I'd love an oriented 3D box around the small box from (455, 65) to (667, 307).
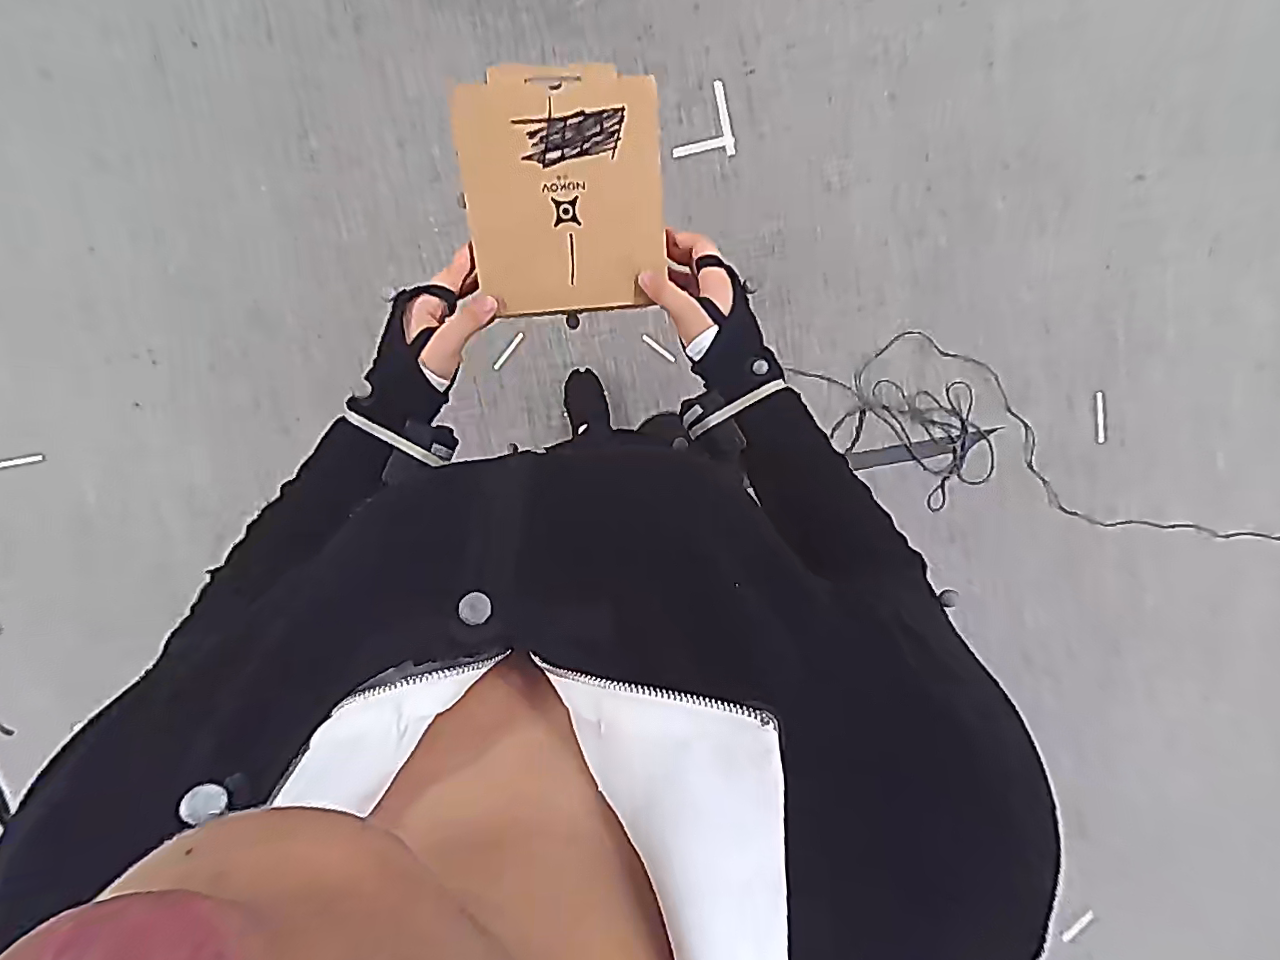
[{"bbox_3d":[-0.071,-0.267,0.529,0.168,0.176,0.179,-6,108,-5],"label":"small box"}]
